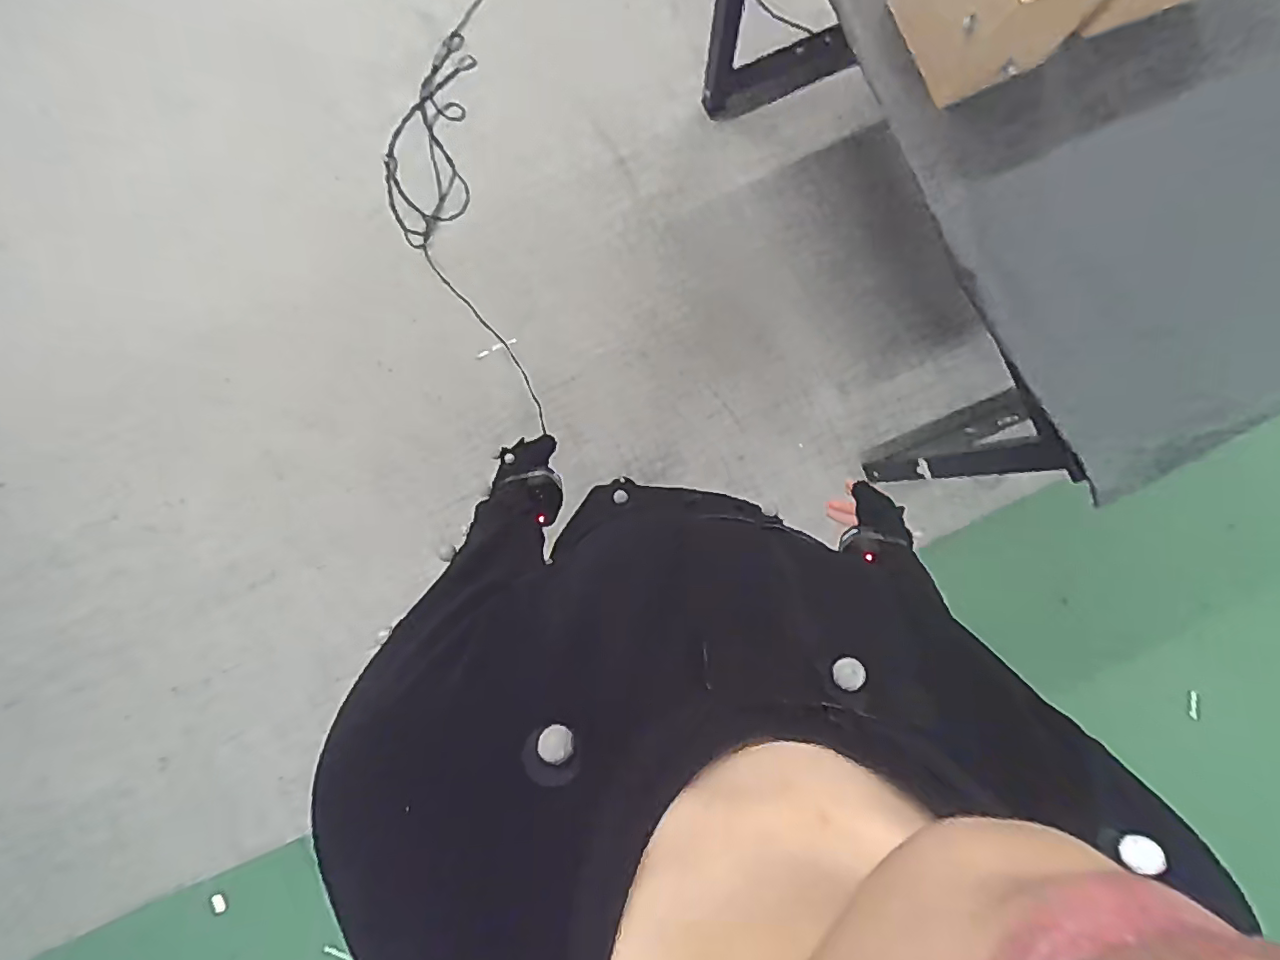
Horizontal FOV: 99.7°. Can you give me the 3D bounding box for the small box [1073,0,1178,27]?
[{"bbox_3d":[0.678,-0.735,0.686,0.179,0.176,0.168,-20,89,-1],"label":"small box"}]
